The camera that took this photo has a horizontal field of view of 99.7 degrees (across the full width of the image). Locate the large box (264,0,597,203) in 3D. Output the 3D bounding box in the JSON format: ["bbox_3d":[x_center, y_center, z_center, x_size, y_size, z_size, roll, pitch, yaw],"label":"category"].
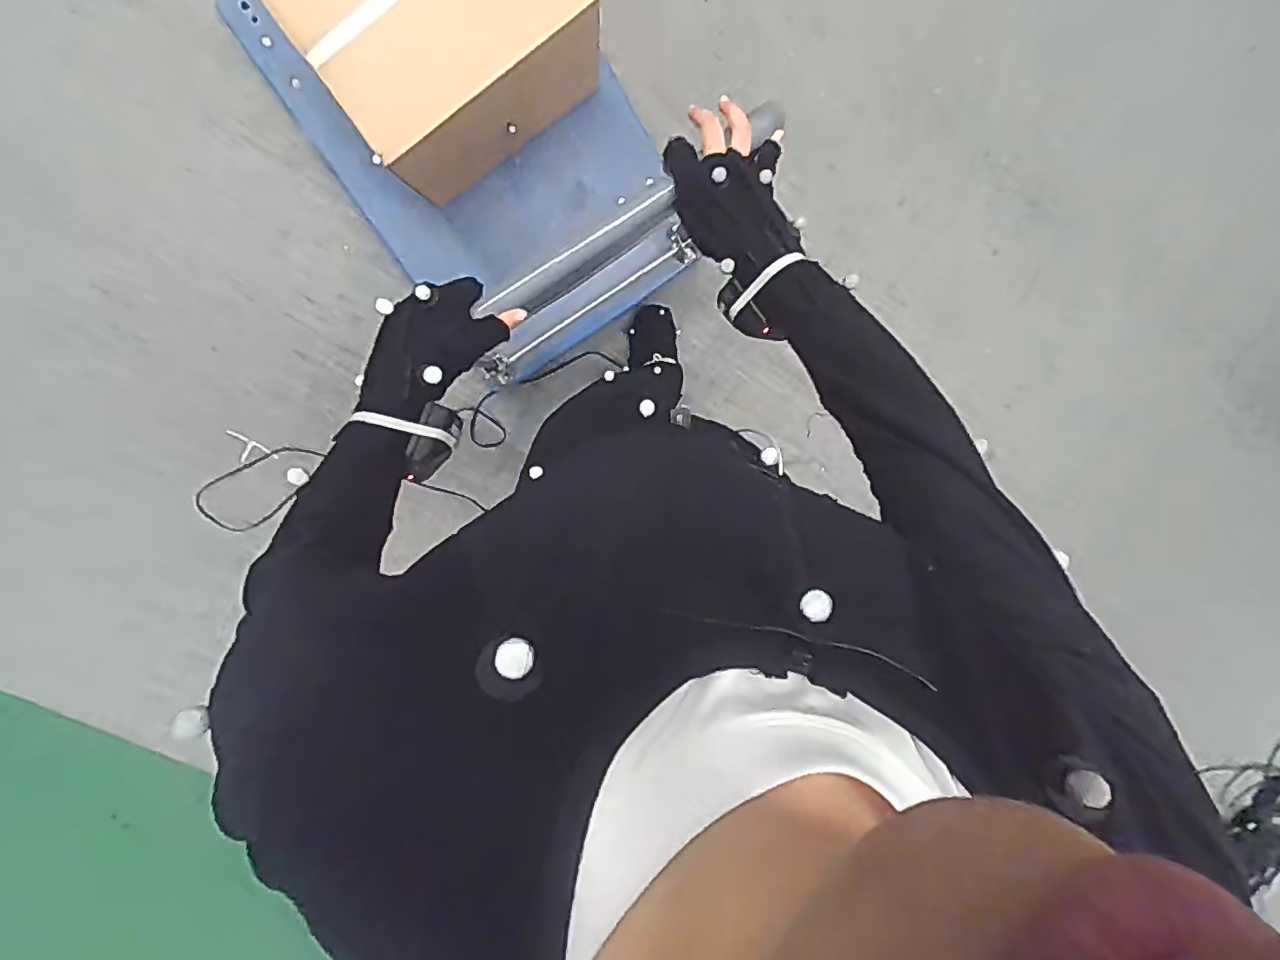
[{"bbox_3d":[-0.320,-0.754,0.912,0.408,0.320,0.320,-34,105,6],"label":"large box"}]
